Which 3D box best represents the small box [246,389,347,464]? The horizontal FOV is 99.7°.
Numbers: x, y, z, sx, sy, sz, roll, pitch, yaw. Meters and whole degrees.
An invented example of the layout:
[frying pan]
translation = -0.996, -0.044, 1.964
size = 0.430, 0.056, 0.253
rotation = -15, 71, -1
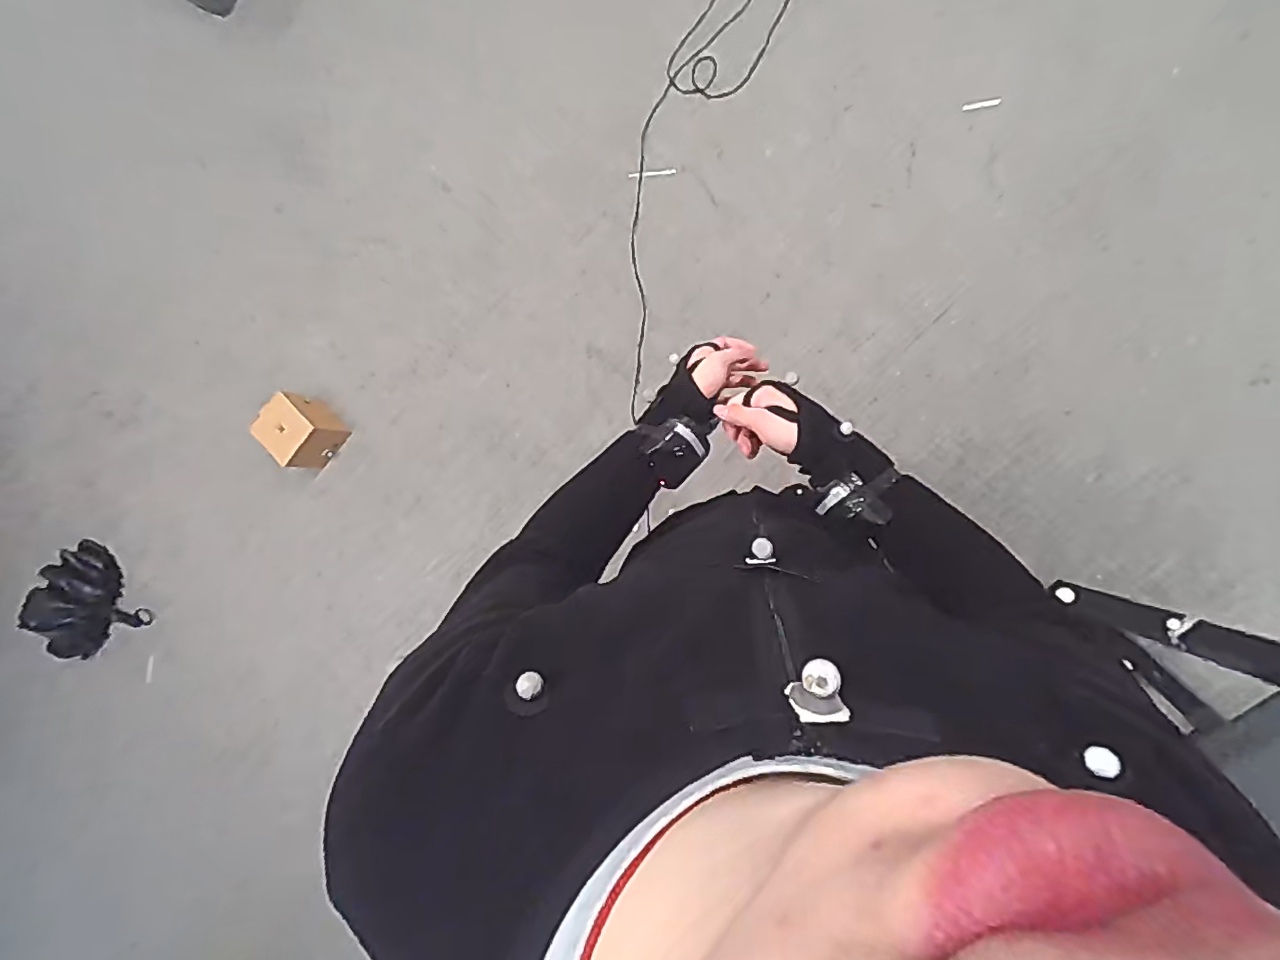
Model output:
[small box]
translation = -1.093, -0.164, 1.732
size = 0.179, 0.176, 0.168
rotation = 43, 98, 7
